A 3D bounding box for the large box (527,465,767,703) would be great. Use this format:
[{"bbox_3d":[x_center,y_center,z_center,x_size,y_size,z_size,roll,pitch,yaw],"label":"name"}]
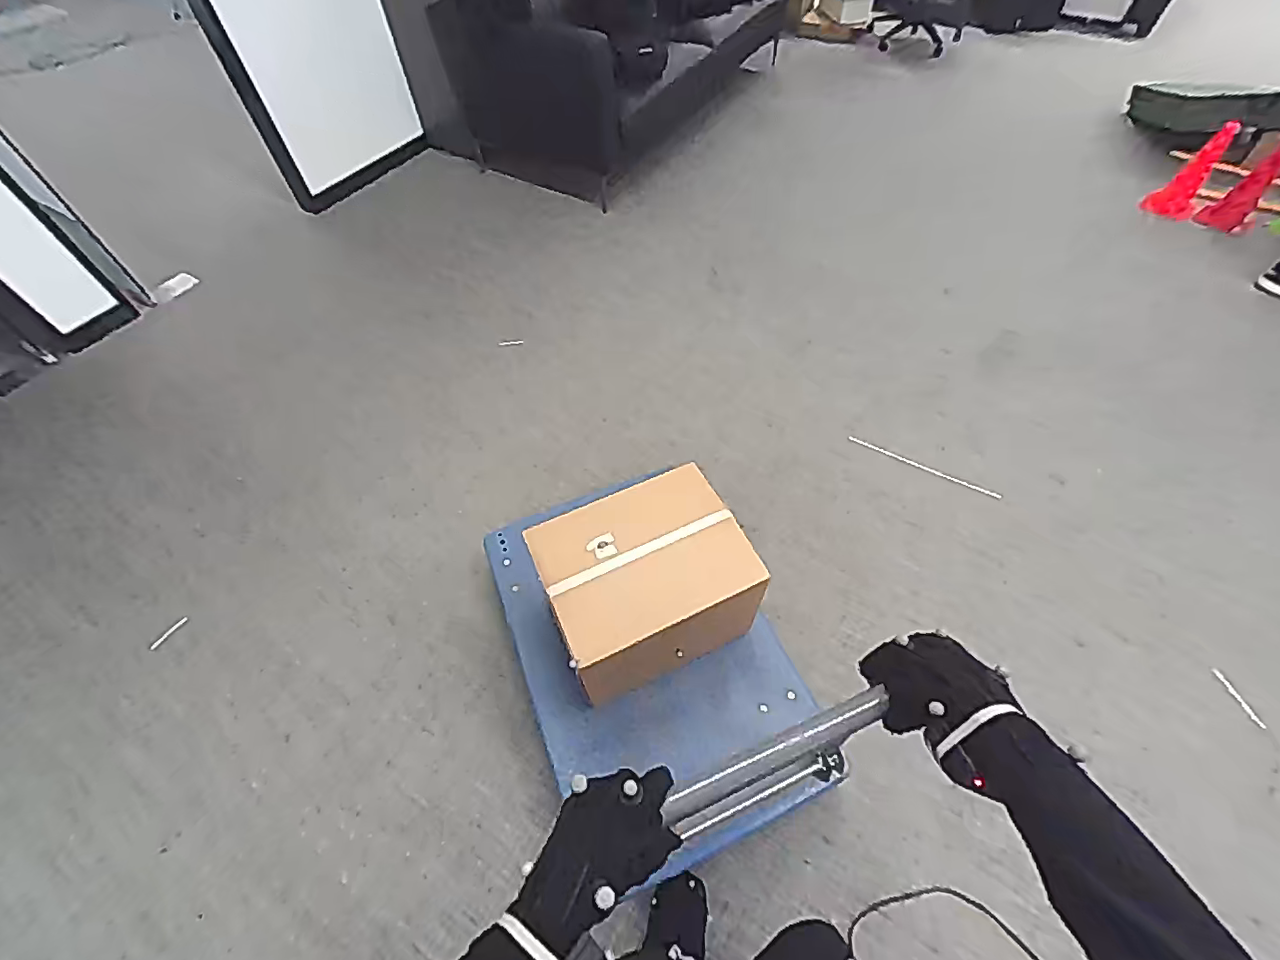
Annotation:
[{"bbox_3d":[0.015,0.235,1.210,0.408,0.320,0.320,-24,57,-13],"label":"large box"}]
